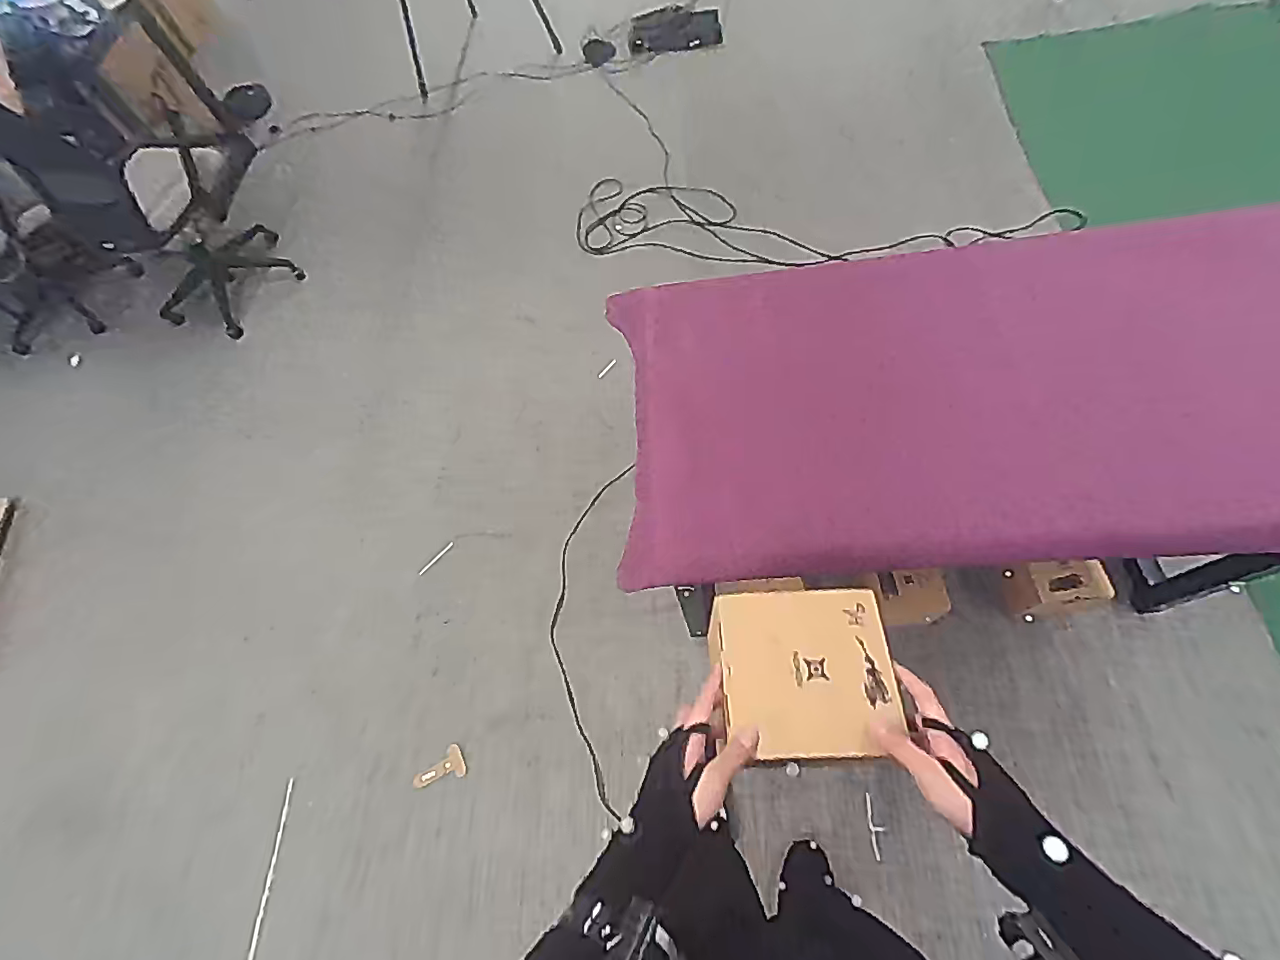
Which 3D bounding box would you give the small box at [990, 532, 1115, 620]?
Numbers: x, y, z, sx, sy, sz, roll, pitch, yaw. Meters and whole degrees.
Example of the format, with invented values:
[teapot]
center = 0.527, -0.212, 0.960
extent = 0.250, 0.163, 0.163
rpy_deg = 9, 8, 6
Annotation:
[small box]
center = 1.024, 0.247, 1.361
extent = 0.168, 0.176, 0.179
rpy_deg = -7, 61, 5
